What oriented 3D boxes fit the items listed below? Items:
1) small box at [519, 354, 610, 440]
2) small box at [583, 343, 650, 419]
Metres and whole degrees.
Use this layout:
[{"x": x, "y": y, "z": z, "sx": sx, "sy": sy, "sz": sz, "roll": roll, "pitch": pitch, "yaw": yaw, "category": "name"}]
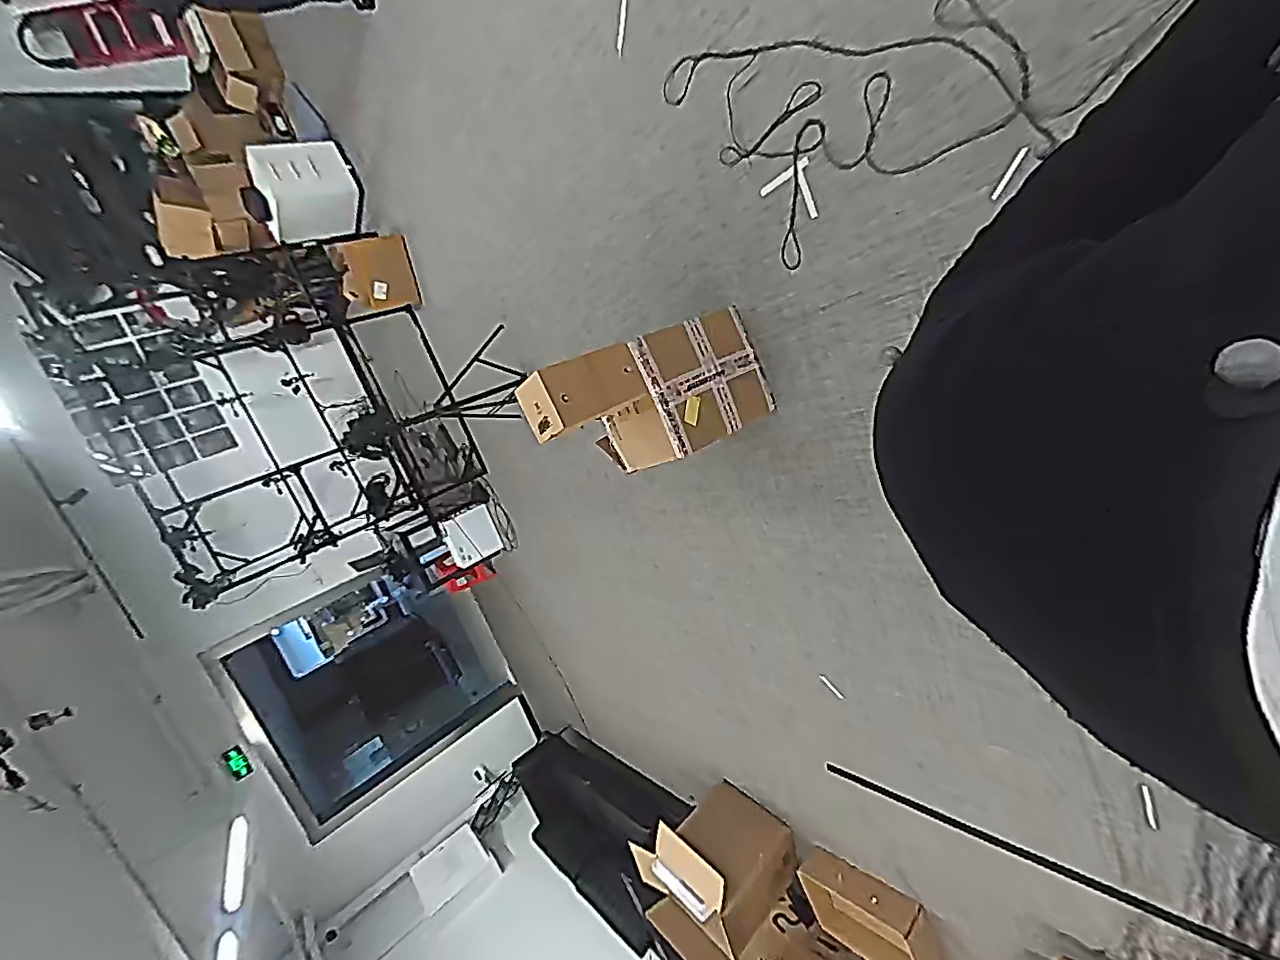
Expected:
[{"x": -0.215, "y": -0.241, "z": 1.562, "sx": 0.168, "sy": 0.176, "sz": 0.179, "roll": -21, "pitch": 96, "yaw": 53, "category": "small box"}, {"x": -0.102, "y": -0.306, "z": 1.663, "sx": 0.168, "sy": 0.176, "sz": 0.179, "roll": -21, "pitch": 96, "yaw": 54, "category": "small box"}]
